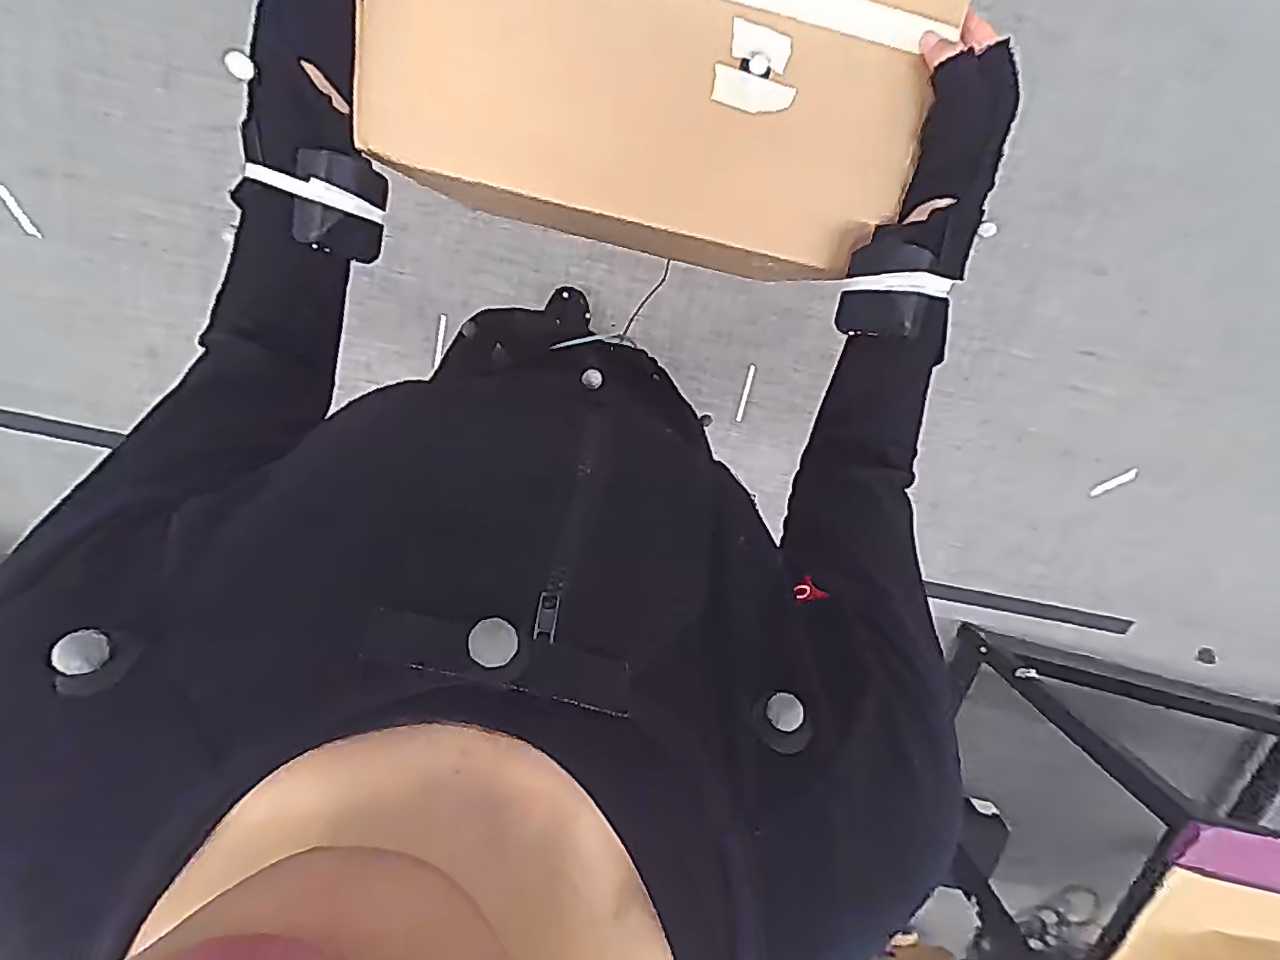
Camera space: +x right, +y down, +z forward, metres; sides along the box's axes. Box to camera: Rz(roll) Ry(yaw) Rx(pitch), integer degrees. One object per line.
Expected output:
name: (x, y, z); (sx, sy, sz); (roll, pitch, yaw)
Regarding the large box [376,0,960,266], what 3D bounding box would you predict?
large box: (0.018, -0.404, 0.508); (0.408, 0.320, 0.320); (10, 110, -8)
